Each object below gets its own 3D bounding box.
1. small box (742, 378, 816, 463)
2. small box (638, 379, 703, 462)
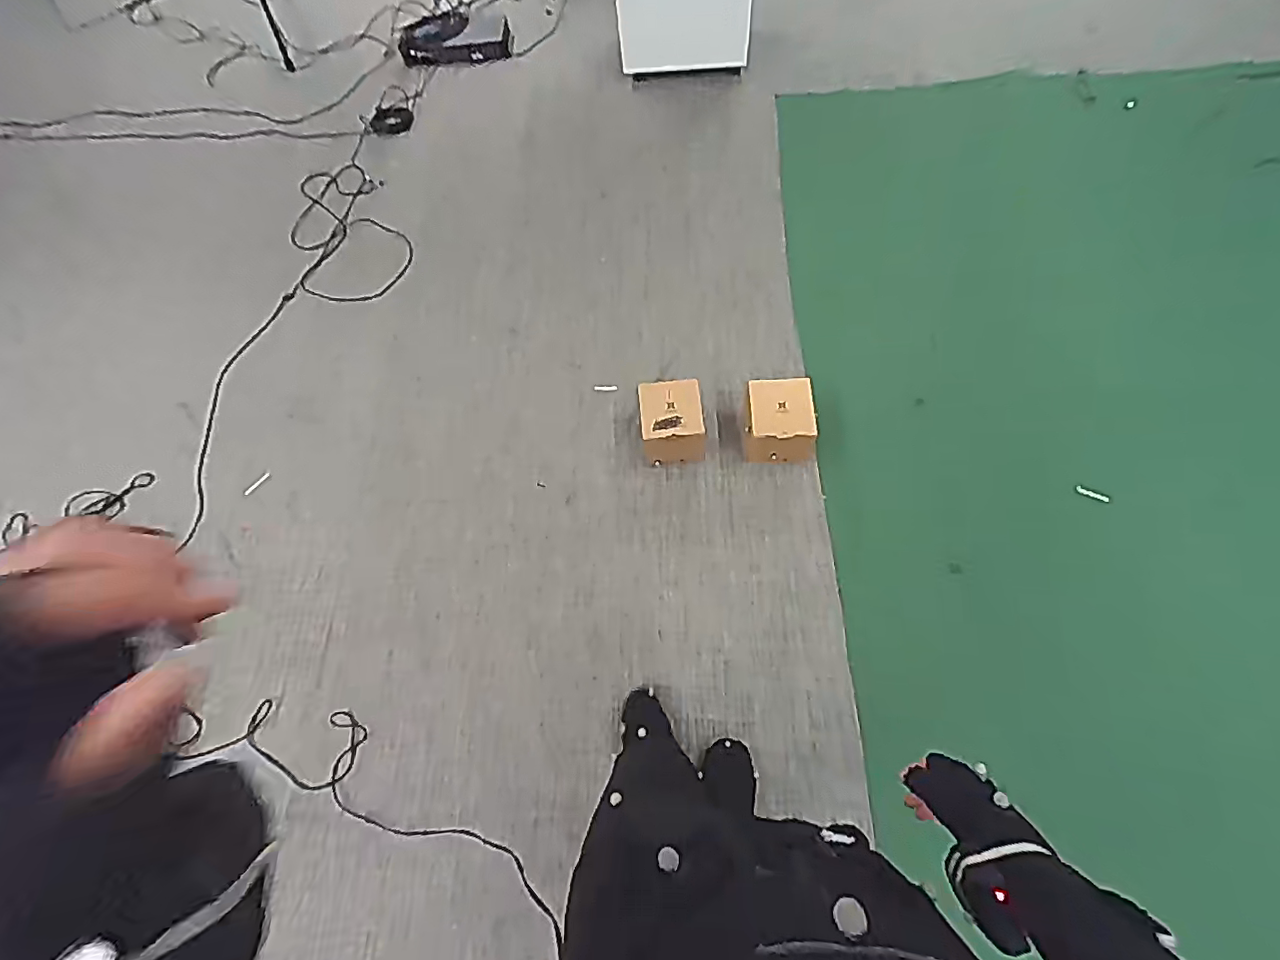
[{"bbox_3d":[0.379,-0.162,1.504,0.168,0.176,0.179,-2,66,5],"label":"small box"},{"bbox_3d":[0.087,-0.160,1.525,0.168,0.176,0.179,-5,65,2],"label":"small box"}]
